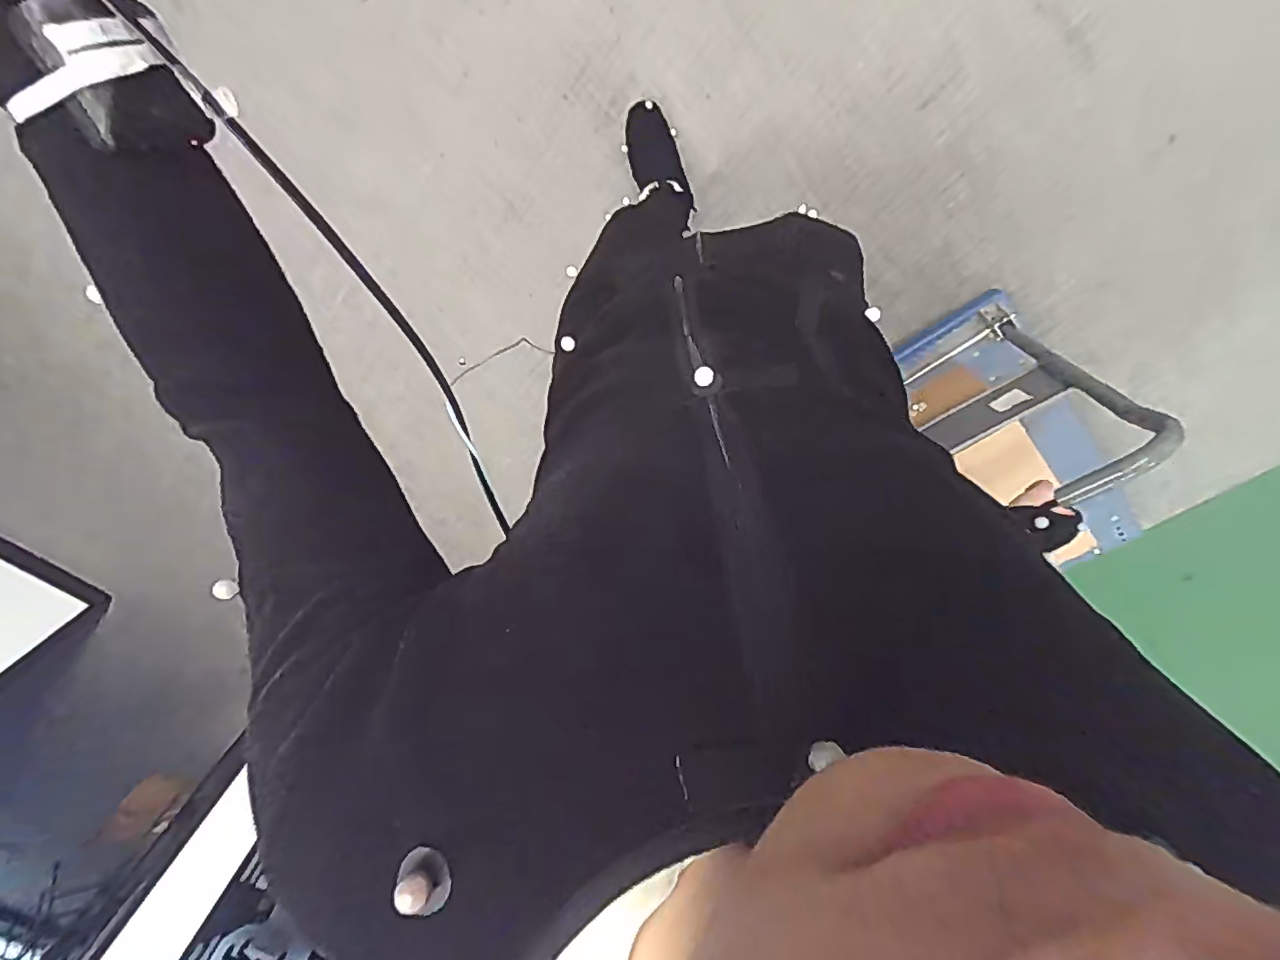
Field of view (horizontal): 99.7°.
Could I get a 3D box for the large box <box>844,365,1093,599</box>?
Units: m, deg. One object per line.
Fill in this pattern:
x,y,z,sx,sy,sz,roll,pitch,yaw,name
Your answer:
0.764,0.002,1.309,0.320,0.320,0.408,-36,111,27,large box
